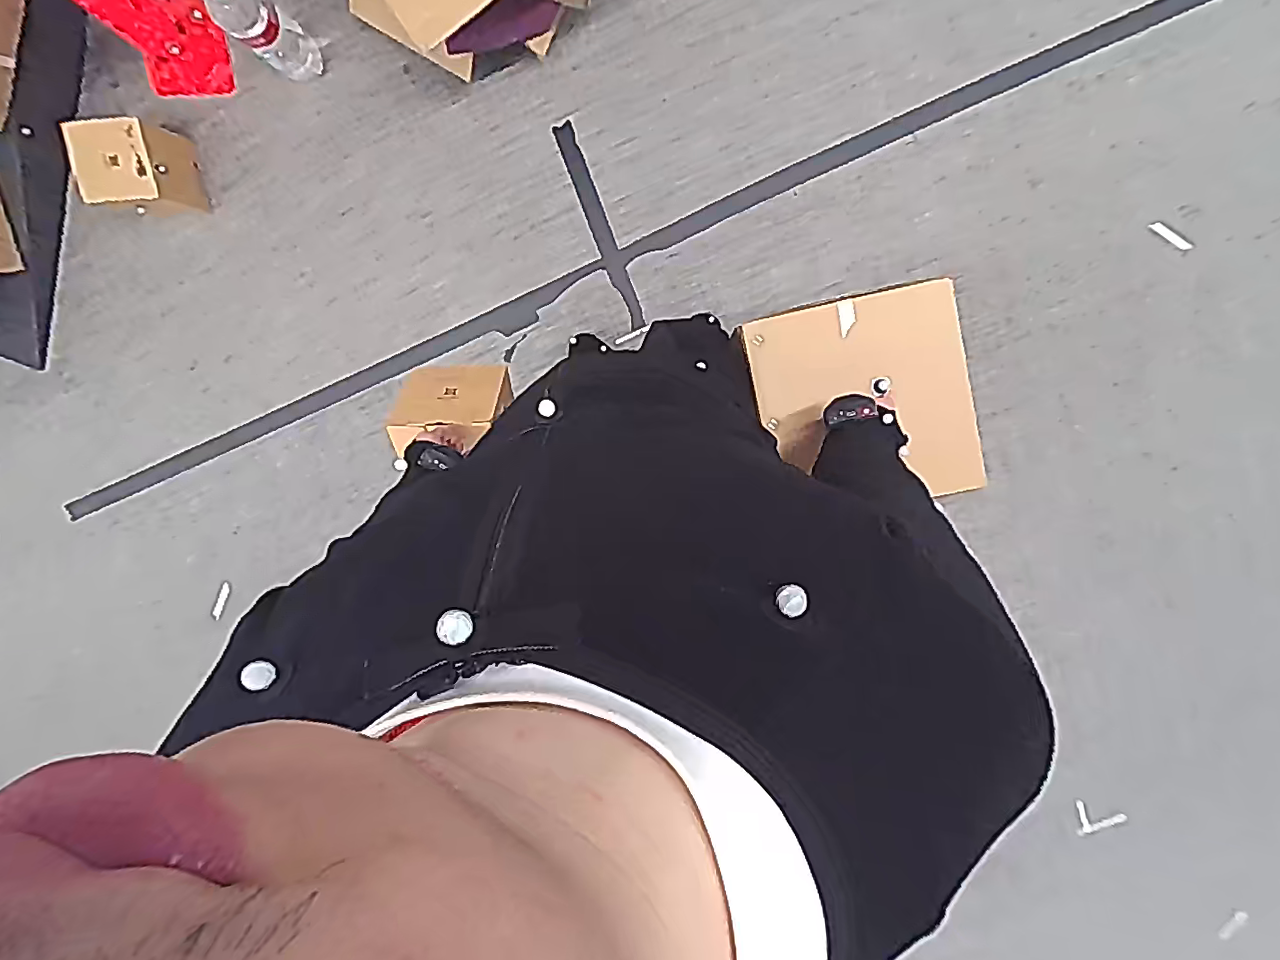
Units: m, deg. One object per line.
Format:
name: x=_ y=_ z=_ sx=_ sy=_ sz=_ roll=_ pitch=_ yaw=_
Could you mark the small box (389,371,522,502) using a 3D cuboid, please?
small box: x=-0.311 y=-0.073 z=0.956 sx=0.168 sy=0.179 sz=0.176 roll=-2 pitch=131 yaw=-1
